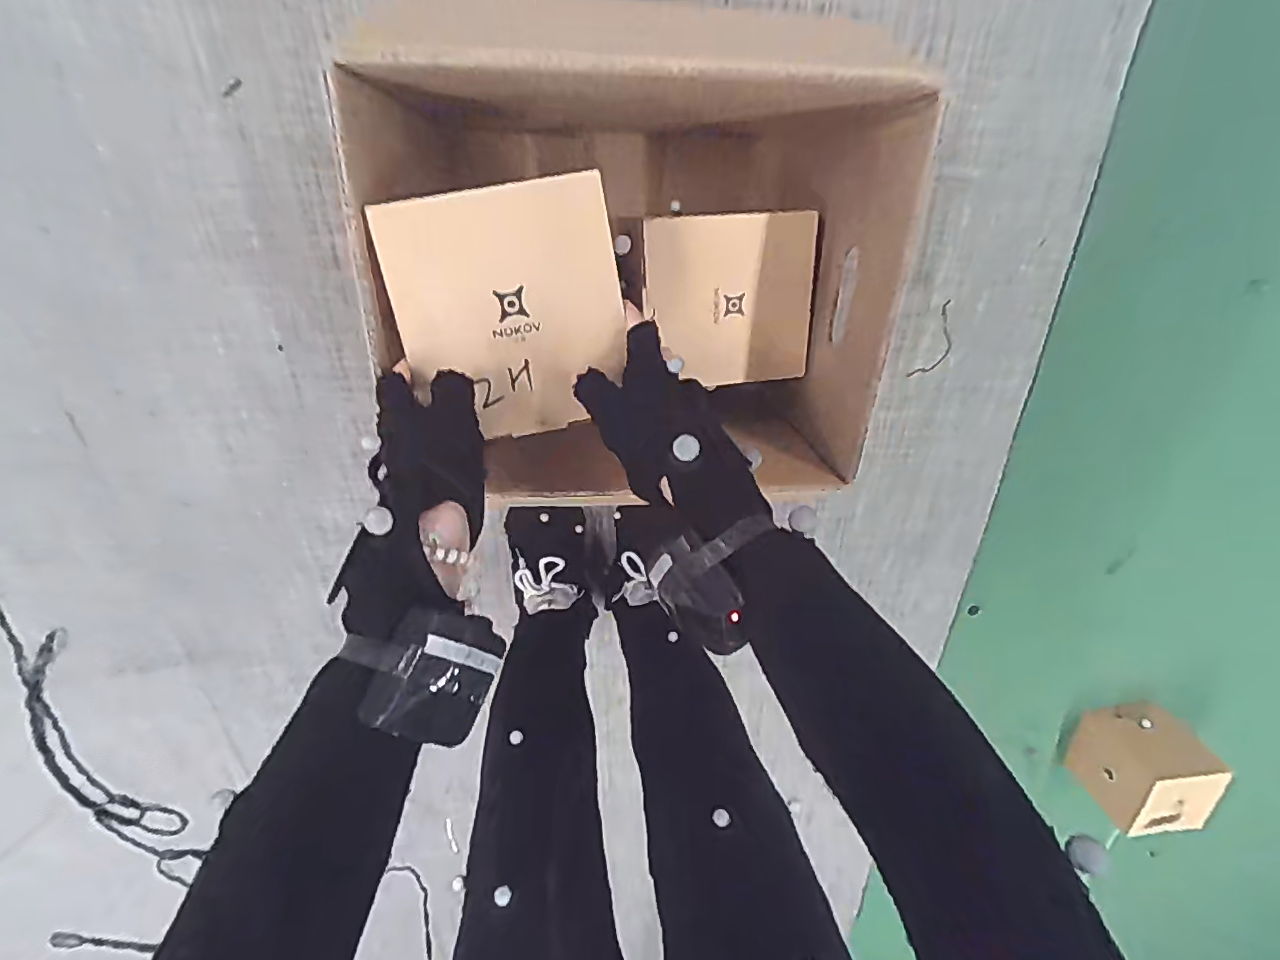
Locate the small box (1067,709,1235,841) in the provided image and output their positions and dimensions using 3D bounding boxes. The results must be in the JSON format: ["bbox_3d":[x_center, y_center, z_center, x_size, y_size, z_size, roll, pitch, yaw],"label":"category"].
[{"bbox_3d":[1.052,0.613,1.134,0.168,0.176,0.179,-5,115,-4],"label":"small box"}]
